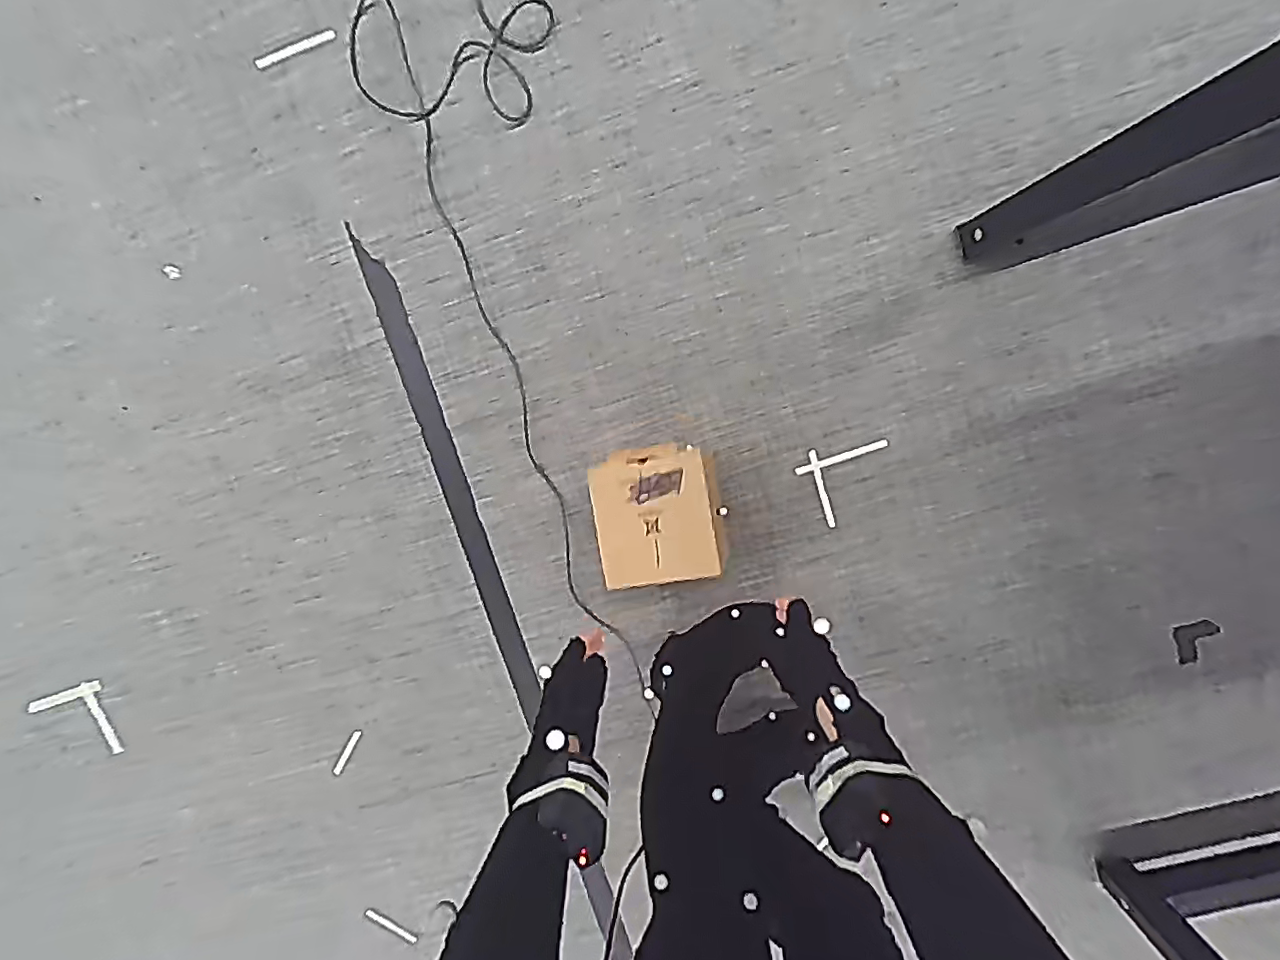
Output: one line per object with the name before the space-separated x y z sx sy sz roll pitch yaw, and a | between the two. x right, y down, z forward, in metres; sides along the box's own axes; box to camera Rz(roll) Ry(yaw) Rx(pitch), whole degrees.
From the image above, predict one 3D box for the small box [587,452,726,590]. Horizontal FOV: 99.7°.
small box | 0.033 0.054 0.822 0.168 0.176 0.179 -9 94 15
